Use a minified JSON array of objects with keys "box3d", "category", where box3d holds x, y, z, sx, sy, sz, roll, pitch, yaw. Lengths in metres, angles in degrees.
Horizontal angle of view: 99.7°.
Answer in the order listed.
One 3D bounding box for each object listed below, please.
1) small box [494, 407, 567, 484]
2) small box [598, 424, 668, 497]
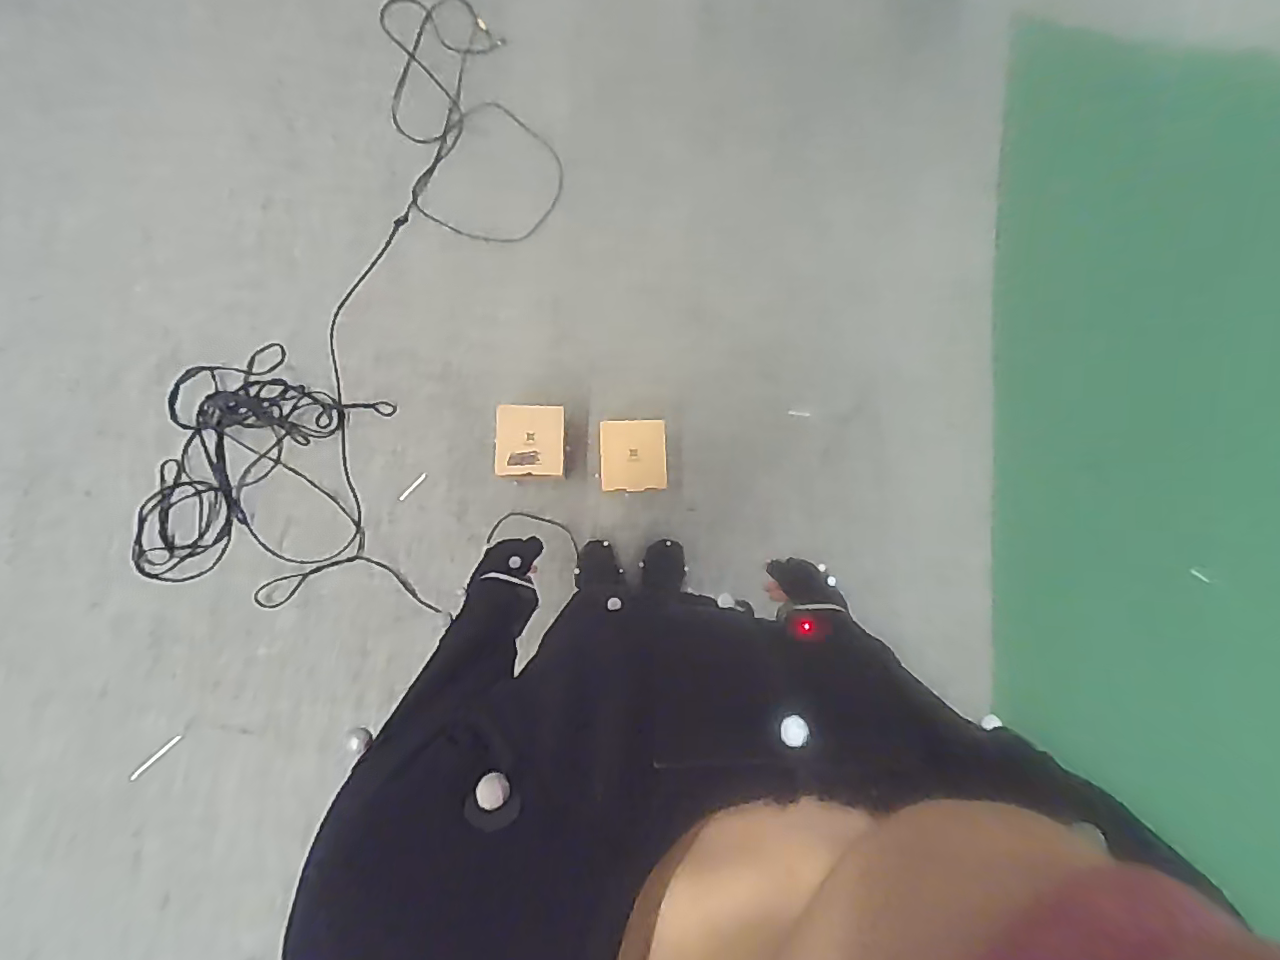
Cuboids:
[{"box3d":[-0.275,-0.081,1.389,0.168,0.176,0.179,1,85,-6],"category":"small box"},{"box3d":[-0.023,-0.047,1.416,0.168,0.176,0.179,-2,87,-6],"category":"small box"}]
